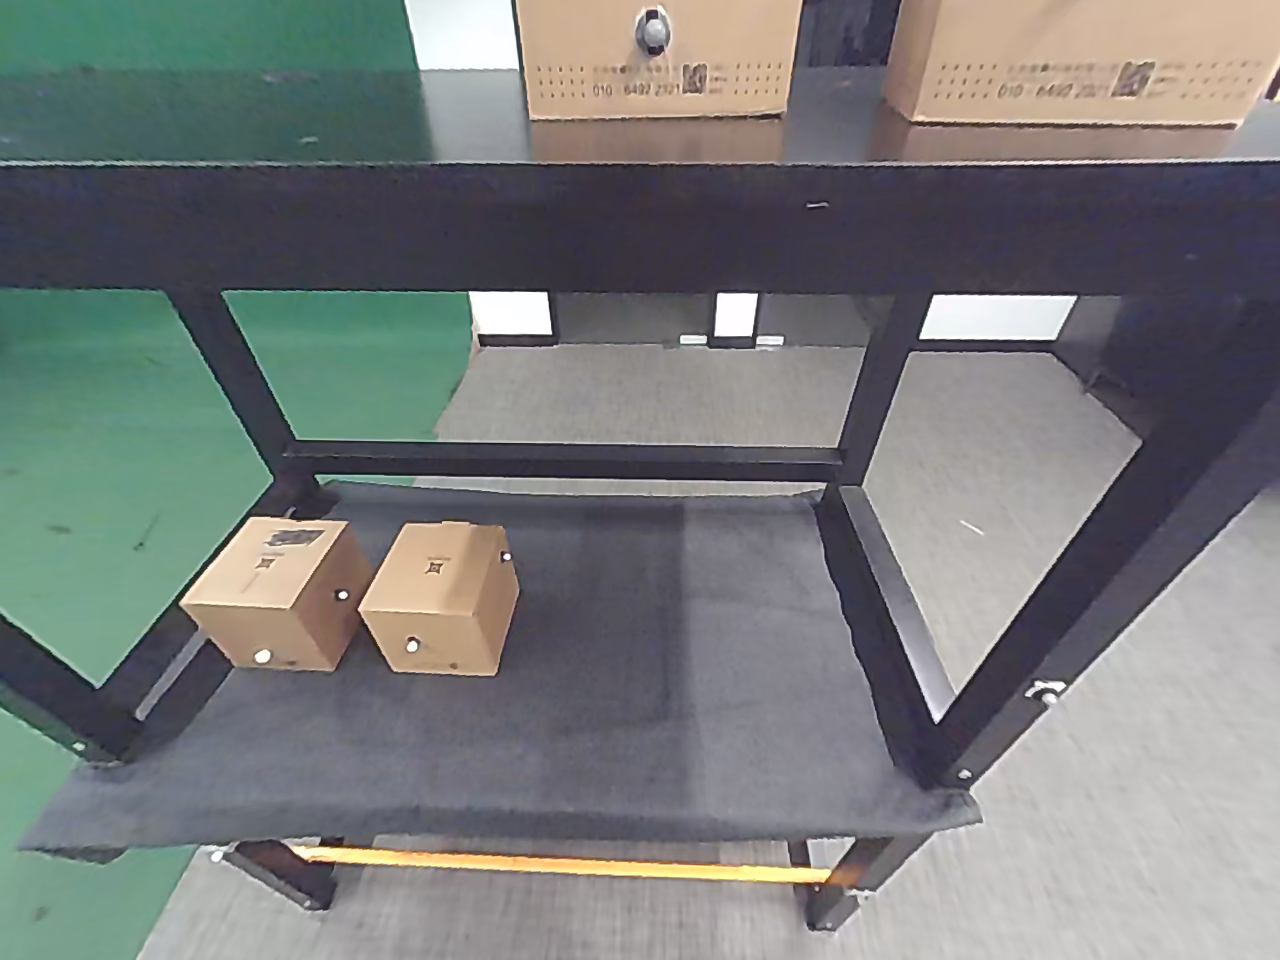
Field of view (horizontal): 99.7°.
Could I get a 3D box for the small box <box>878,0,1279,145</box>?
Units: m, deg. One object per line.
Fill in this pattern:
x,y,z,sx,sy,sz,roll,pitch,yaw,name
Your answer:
0.253,-0.307,0.319,0.168,0.176,0.179,9,41,10,small box

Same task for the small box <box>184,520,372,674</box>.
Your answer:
-0.560,0.187,0.872,0.168,0.176,0.179,2,41,3,small box

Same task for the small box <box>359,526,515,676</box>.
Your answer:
-0.307,0.194,0.865,0.168,0.176,0.179,2,40,2,small box
